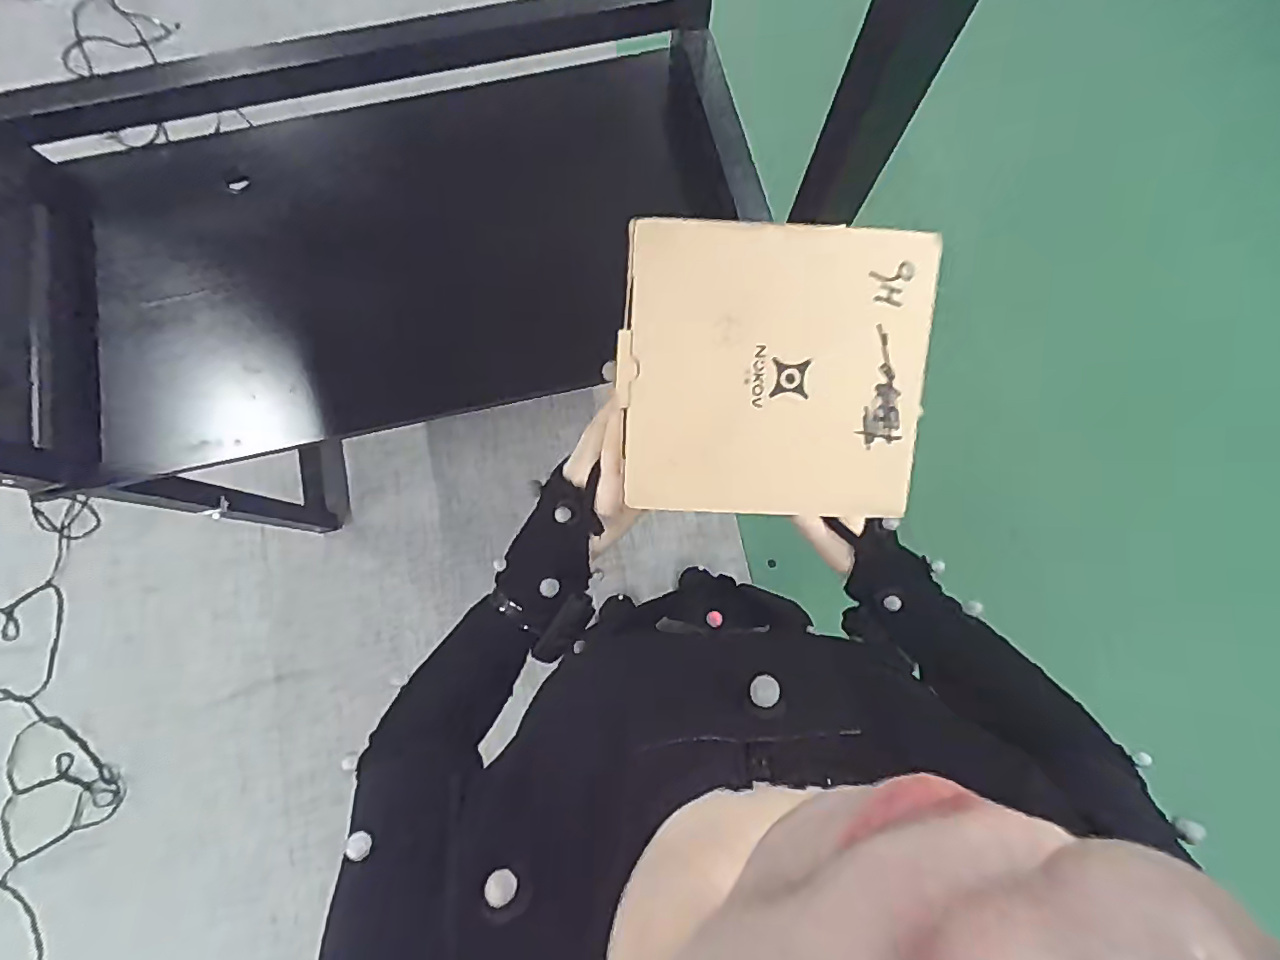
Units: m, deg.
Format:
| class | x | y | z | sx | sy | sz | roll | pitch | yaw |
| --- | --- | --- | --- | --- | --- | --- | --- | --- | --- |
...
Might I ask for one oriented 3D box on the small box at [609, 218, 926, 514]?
| class | x | y | z | sx | sy | sz | roll | pitch | yaw |
| --- | --- | --- | --- | --- | --- | --- | --- | --- | --- |
| small box | 0.073 | -0.077 | 0.399 | 0.179 | 0.176 | 0.168 | 3 | 100 | -1 |
